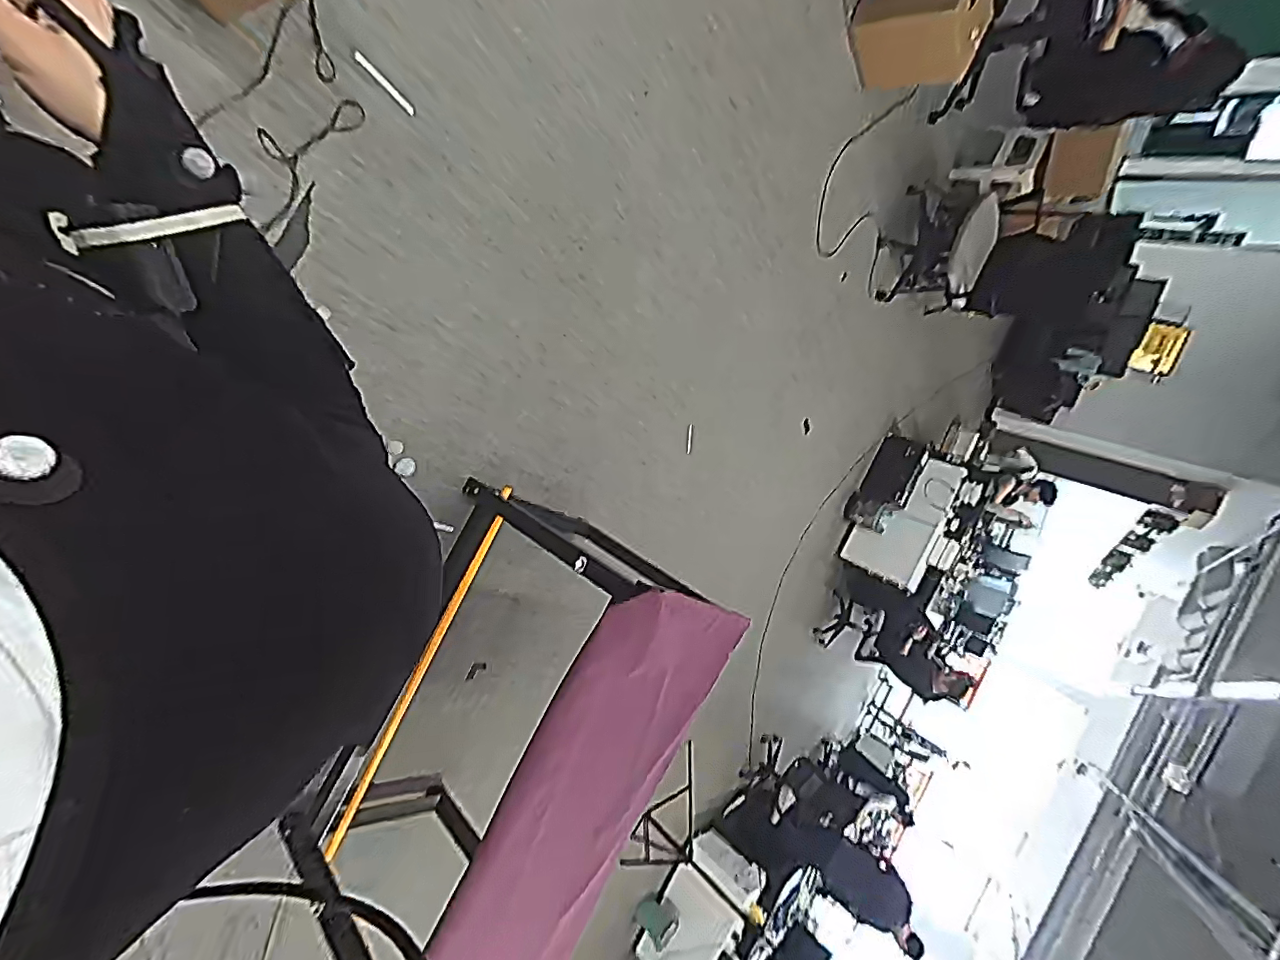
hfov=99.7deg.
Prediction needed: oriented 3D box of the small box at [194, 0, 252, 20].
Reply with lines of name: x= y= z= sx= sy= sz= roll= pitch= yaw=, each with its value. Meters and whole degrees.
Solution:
small box: x=-0.665 y=-0.860 z=0.825 sx=0.168 sy=0.176 sz=0.179 roll=31 pitch=87 yaw=-53
